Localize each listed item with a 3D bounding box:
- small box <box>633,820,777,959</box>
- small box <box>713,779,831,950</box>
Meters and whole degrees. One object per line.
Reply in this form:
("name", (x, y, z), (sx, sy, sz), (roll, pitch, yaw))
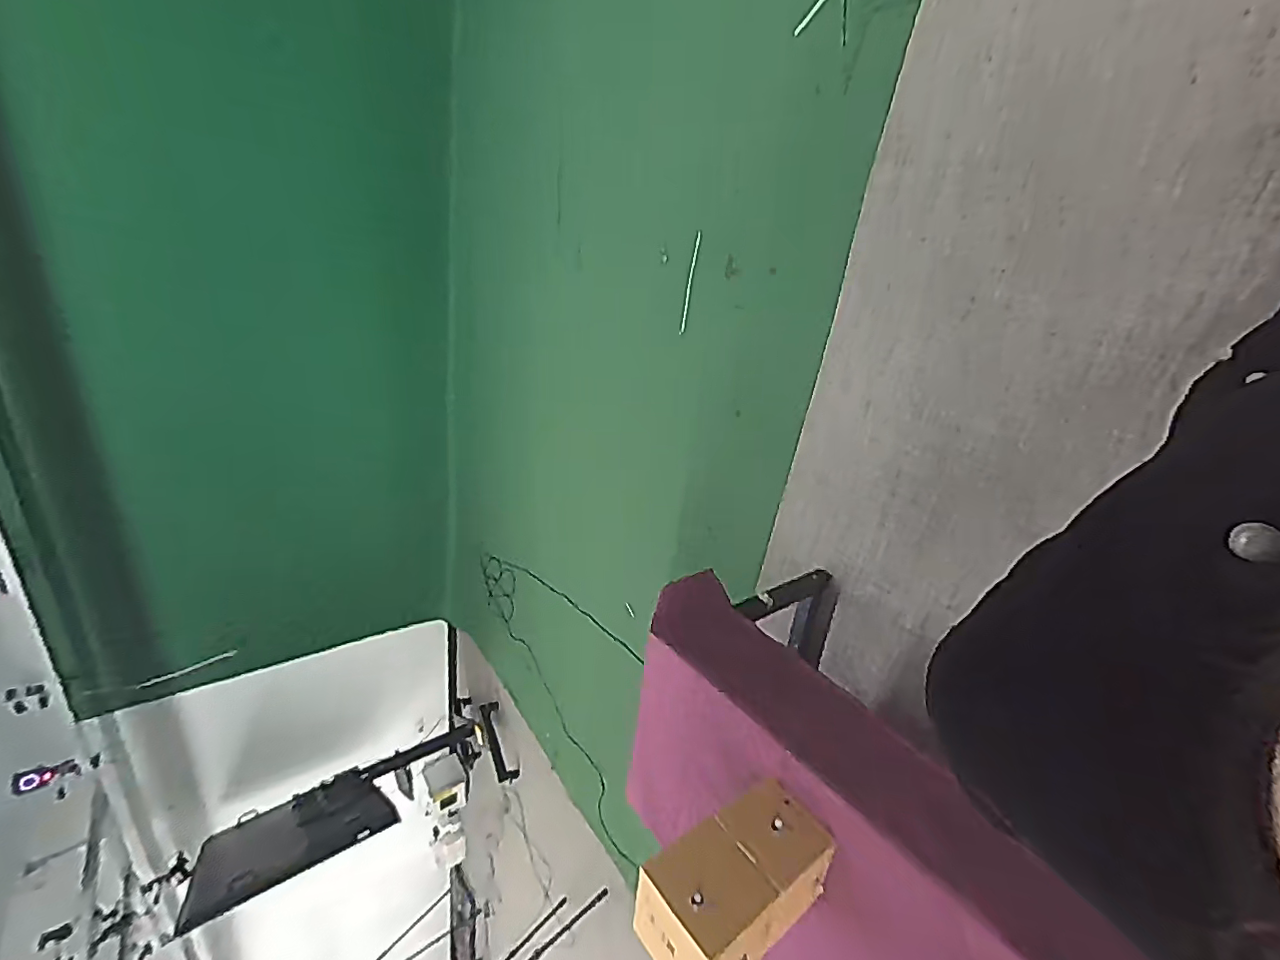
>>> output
("small box", (0.112, 0.747, 0.941), (0.179, 0.176, 0.168), (29, 120, 45))
("small box", (0.242, 0.725, 1.041), (0.168, 0.176, 0.179), (30, 121, 45))
